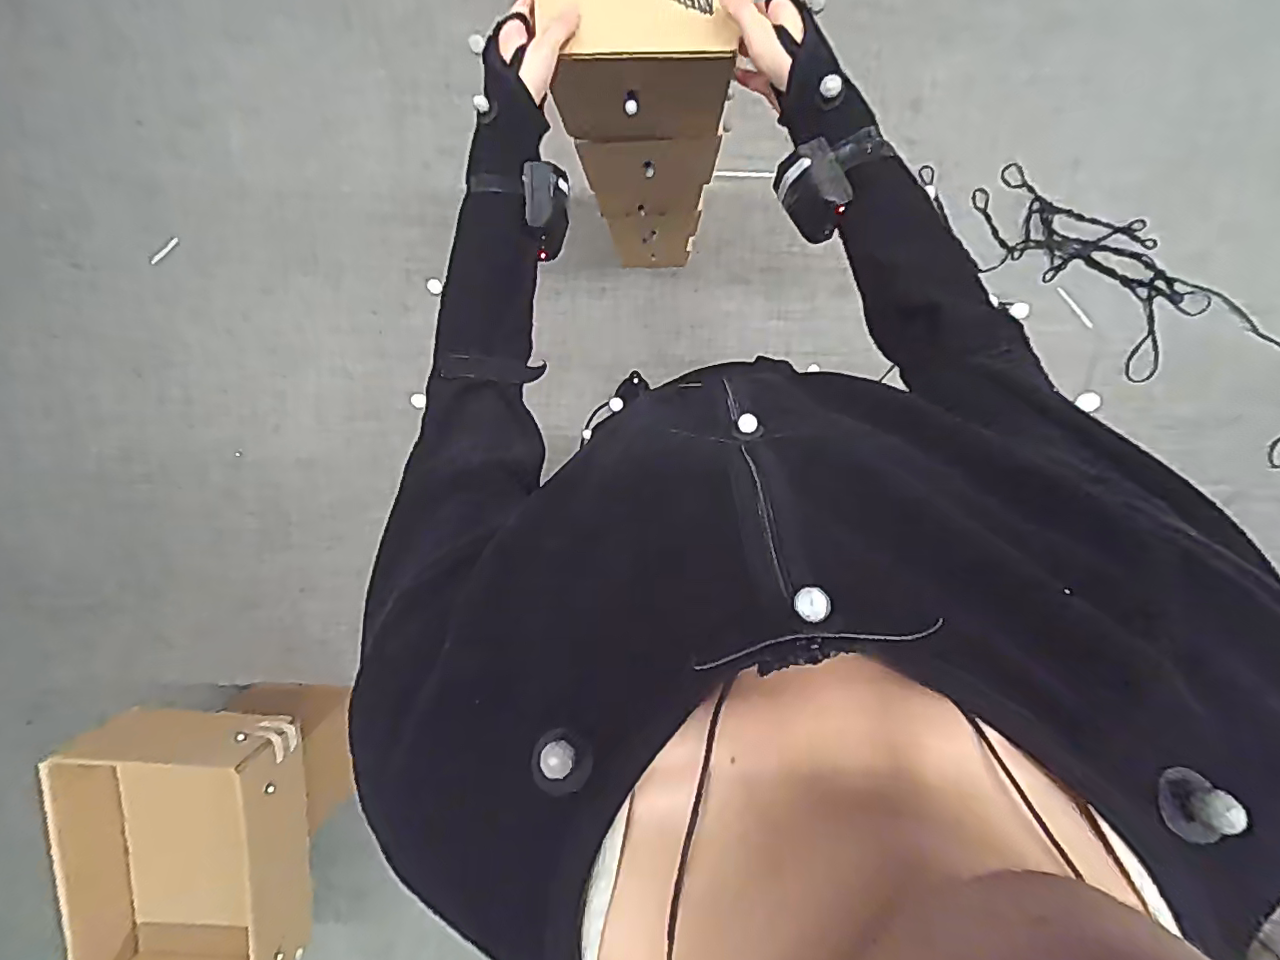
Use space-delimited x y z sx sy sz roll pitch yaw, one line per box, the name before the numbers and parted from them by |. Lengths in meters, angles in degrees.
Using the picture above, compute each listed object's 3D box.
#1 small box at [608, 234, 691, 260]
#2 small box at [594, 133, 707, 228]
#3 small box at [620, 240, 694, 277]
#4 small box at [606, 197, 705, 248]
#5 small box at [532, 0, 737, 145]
small box | 0.027 -0.581 1.171 0.179 0.176 0.168 1 99 2
small box | 0.015 -0.516 0.852 0.168 0.176 0.179 -1 99 2
small box | 0.042 -0.604 1.332 0.179 0.176 0.168 0 98 1
small box | 0.026 -0.542 1.012 0.179 0.176 0.168 -1 98 1
small box | -0.001 -0.452 0.530 0.179 0.176 0.168 1 100 3
